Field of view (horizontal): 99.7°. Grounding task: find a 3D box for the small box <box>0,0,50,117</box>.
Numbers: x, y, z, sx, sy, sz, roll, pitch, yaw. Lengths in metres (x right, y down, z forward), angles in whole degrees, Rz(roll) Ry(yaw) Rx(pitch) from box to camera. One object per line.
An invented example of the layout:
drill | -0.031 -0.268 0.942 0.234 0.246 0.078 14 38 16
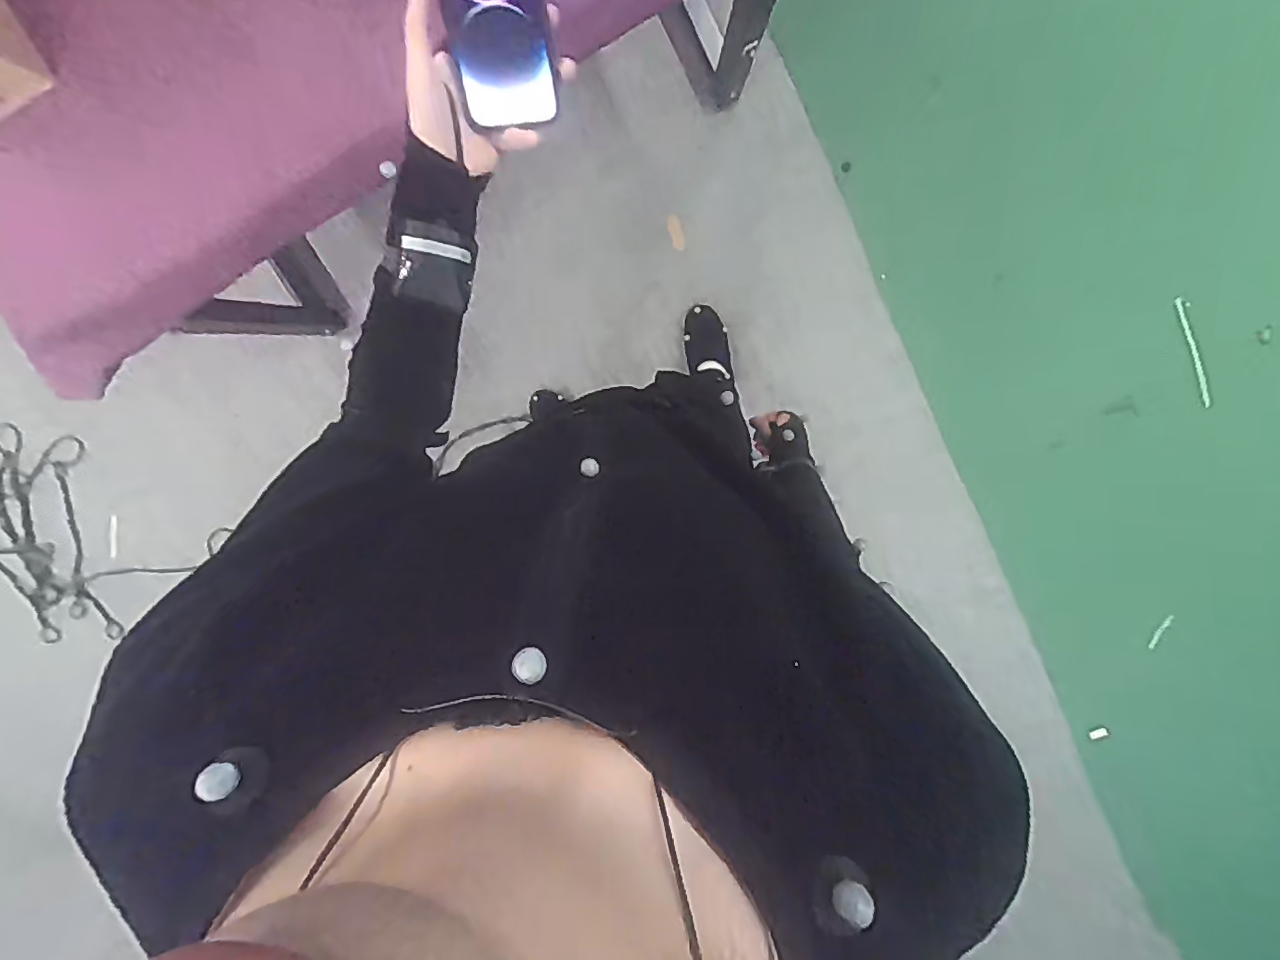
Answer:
small box | -0.809 -0.493 0.566 0.168 0.176 0.179 -25 102 7
